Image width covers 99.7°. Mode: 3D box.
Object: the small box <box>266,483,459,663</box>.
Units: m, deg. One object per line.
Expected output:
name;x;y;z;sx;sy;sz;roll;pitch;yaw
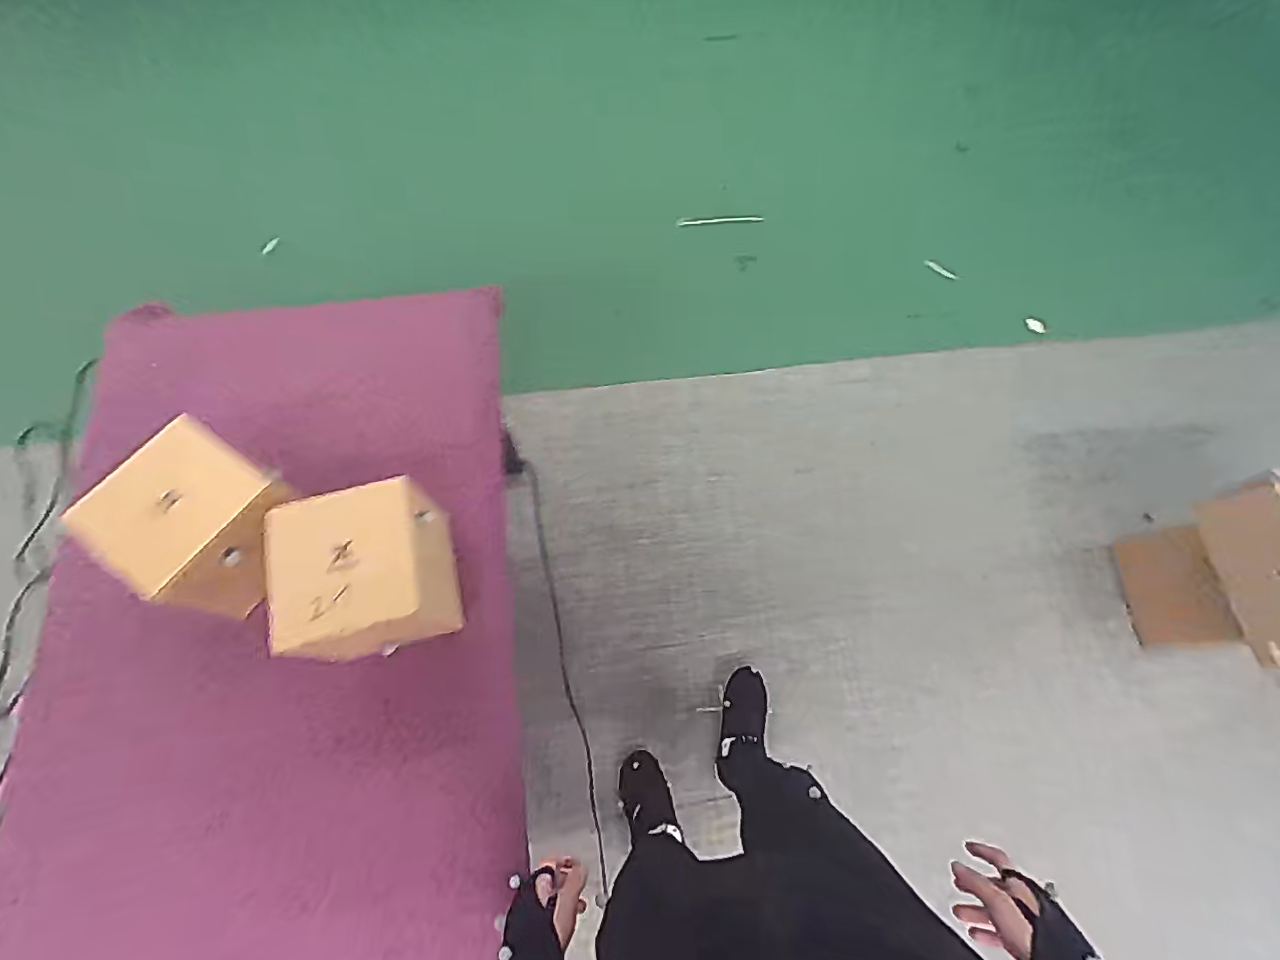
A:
small box;-0.351;0.128;0.705;0.168;0.176;0.179;-15;70;-5

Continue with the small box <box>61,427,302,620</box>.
small box;-0.576;0.067;0.727;0.168;0.176;0.179;33;72;10
